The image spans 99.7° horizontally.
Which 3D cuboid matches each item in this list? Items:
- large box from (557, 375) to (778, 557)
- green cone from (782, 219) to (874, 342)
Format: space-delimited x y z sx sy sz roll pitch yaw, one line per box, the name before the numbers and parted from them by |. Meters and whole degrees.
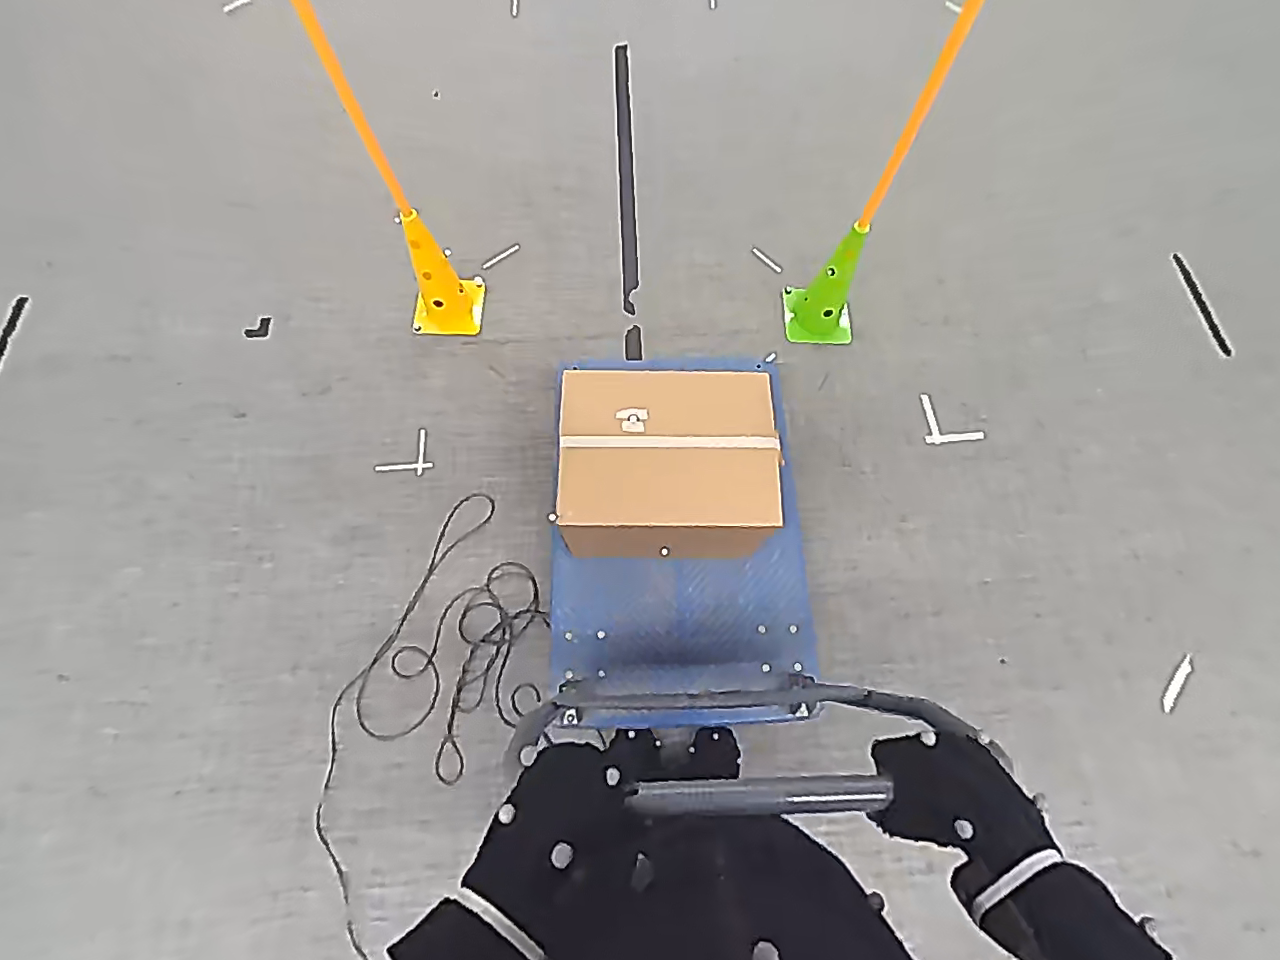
large box | 0.049 -0.013 1.152 0.408 0.320 0.320 0 70 0
green cone | 0.555 -0.577 1.524 0.202 0.368 0.200 2 70 -2
